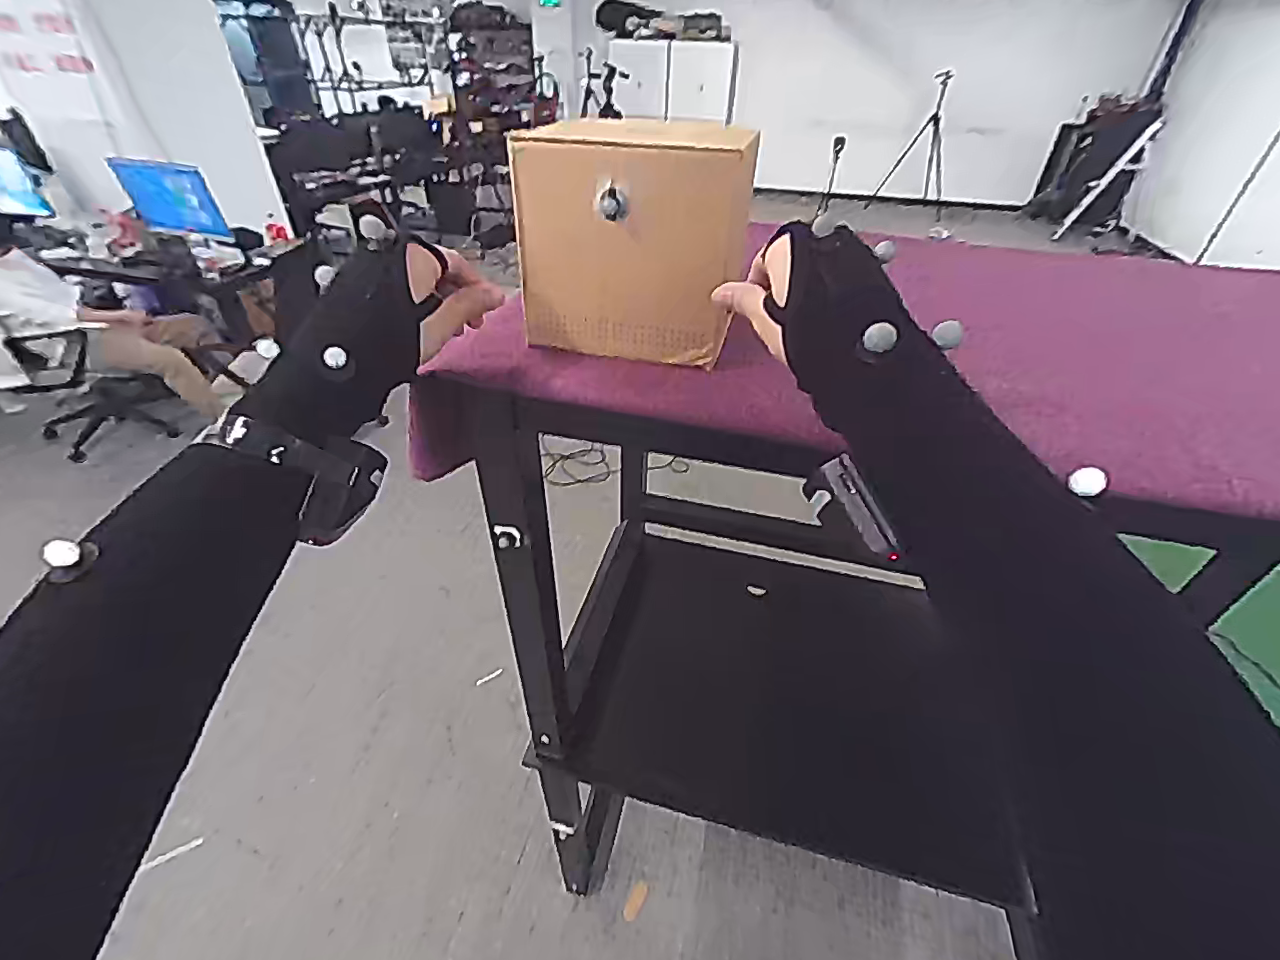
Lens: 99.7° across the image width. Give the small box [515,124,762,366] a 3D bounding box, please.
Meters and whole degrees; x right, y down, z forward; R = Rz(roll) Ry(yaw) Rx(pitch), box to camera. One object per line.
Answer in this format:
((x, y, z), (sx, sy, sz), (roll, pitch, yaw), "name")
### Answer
((0.006, -0.219, 0.498), (0.179, 0.176, 0.168), (11, 38, 10), "small box")
